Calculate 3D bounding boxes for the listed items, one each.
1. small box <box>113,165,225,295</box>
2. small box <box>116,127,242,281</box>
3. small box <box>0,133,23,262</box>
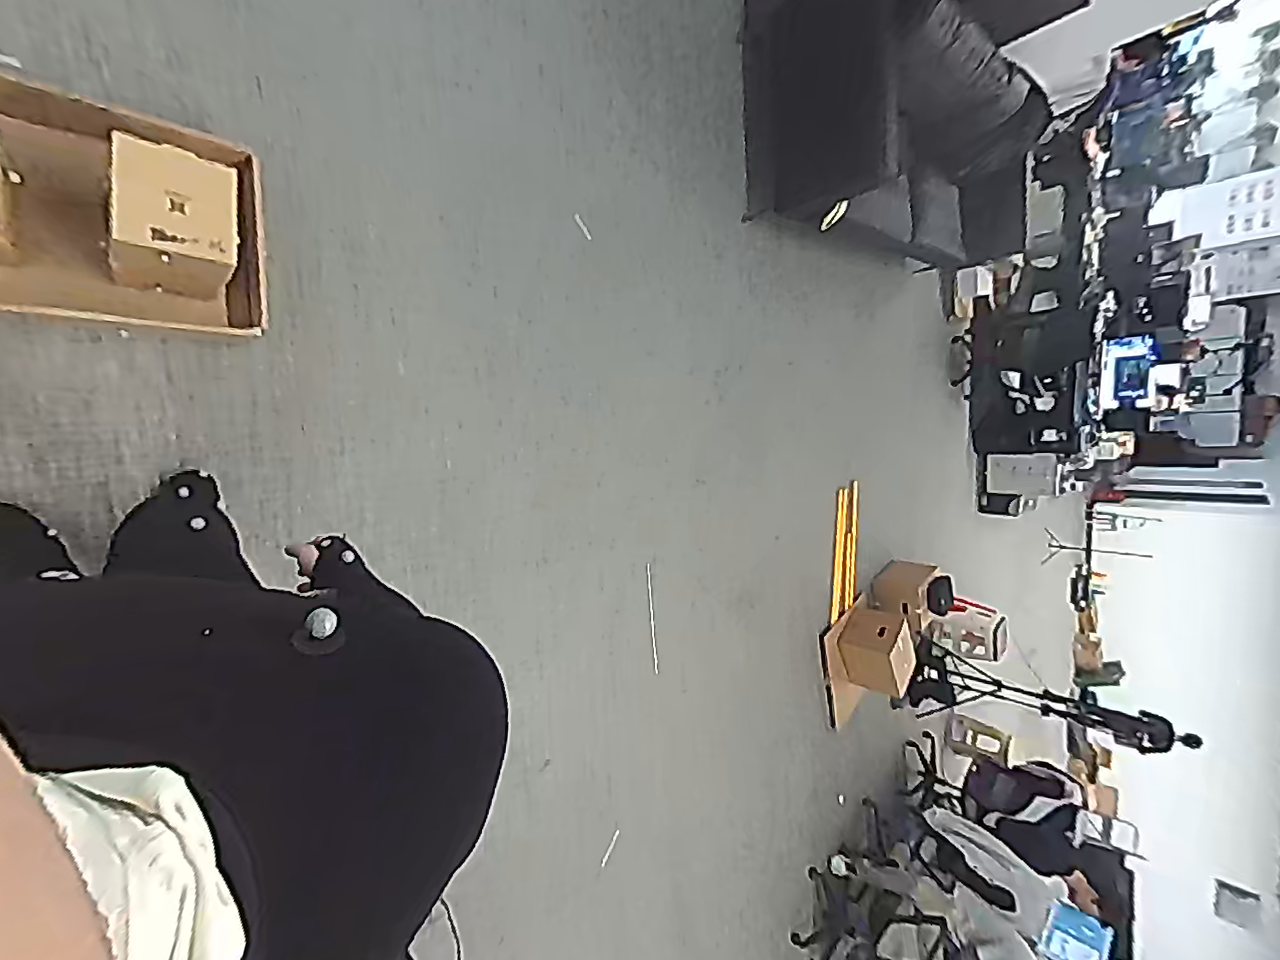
[{"bbox_3d":[-0.959,-0.495,1.102,0.168,0.176,0.179,-2,94,-43],"label":"small box"},{"bbox_3d":[-0.841,-0.488,0.987,0.168,0.176,0.179,0,91,-43],"label":"small box"},{"bbox_3d":[-1.171,-0.490,0.904,0.168,0.176,0.179,-3,93,-43],"label":"small box"}]
